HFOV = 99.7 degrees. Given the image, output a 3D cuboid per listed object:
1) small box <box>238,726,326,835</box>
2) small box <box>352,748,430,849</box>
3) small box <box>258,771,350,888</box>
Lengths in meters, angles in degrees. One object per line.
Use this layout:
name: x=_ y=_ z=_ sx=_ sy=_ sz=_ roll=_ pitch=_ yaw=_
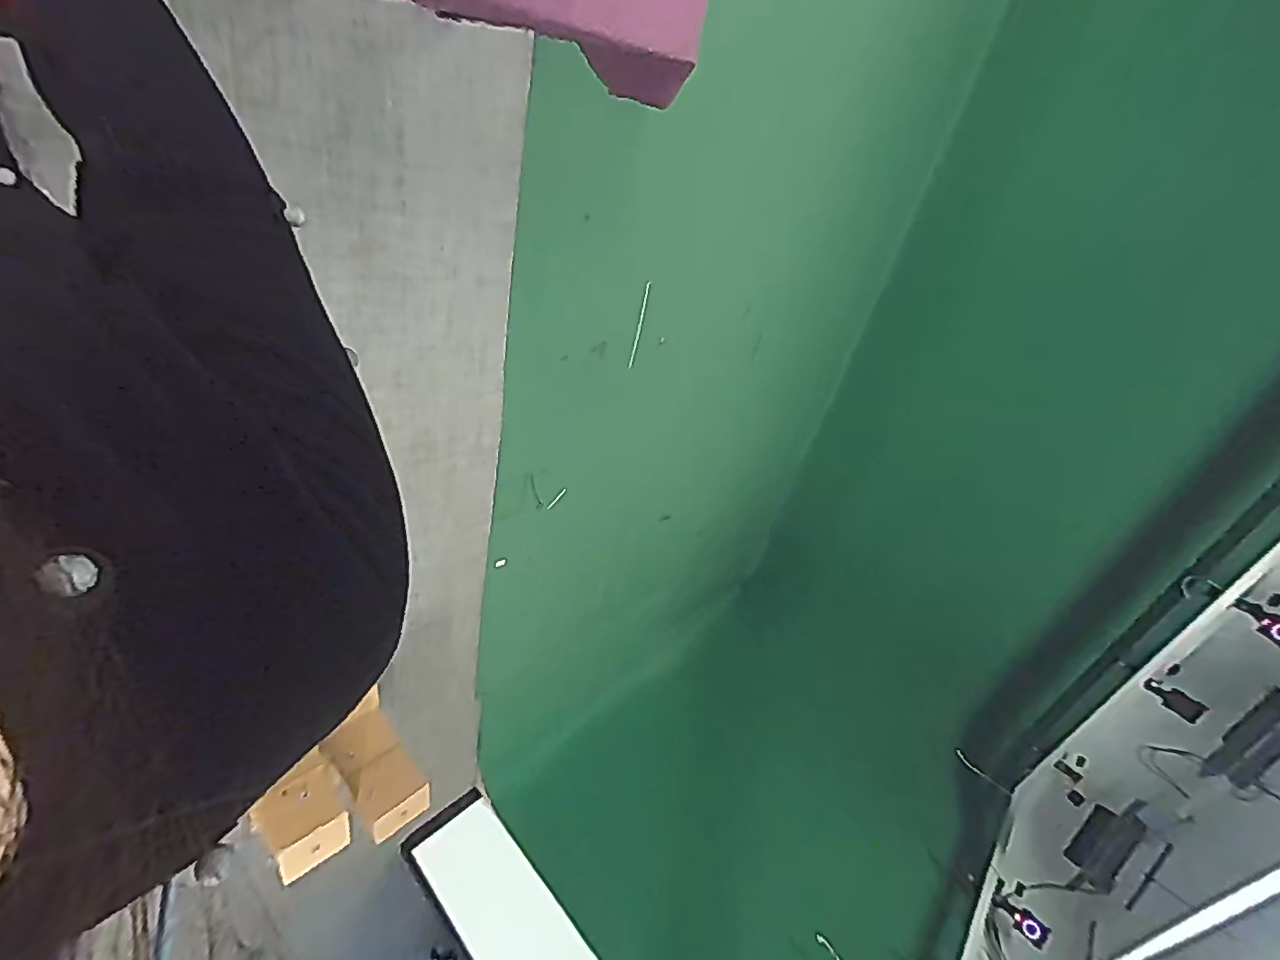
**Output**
small box: x=-1.017 y=0.848 z=1.540 sx=0.179 sy=0.176 sz=0.168 roll=-19 pitch=136 yaw=-44
small box: x=-0.780 y=0.988 z=1.690 sx=0.179 sy=0.176 sz=0.168 roll=-24 pitch=140 yaw=-42
small box: x=-0.904 y=0.934 z=1.459 sx=0.168 sy=0.176 sz=0.179 roll=-18 pitch=134 yaw=-43
